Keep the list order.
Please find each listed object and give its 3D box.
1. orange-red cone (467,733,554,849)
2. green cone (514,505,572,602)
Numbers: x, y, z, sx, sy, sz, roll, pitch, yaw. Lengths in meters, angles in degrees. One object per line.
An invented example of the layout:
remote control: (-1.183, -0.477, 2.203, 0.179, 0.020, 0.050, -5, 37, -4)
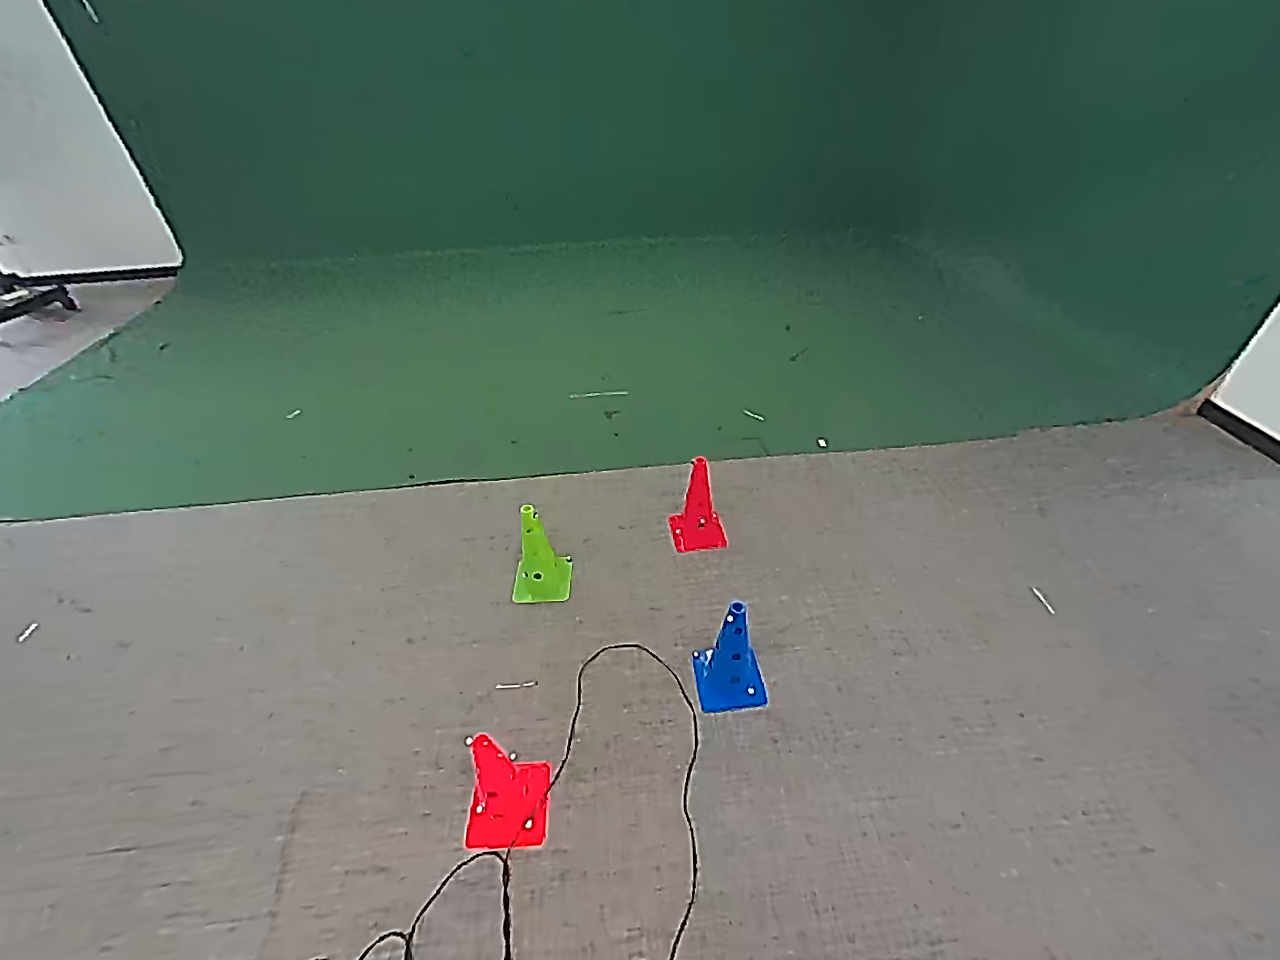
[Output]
orange-red cone: (-0.331, 0.697, 1.277, 0.198, 0.360, 0.199, -1, 39, 0)
green cone: (-0.354, 0.223, 1.834, 0.200, 0.368, 0.202, -4, 41, -1)
